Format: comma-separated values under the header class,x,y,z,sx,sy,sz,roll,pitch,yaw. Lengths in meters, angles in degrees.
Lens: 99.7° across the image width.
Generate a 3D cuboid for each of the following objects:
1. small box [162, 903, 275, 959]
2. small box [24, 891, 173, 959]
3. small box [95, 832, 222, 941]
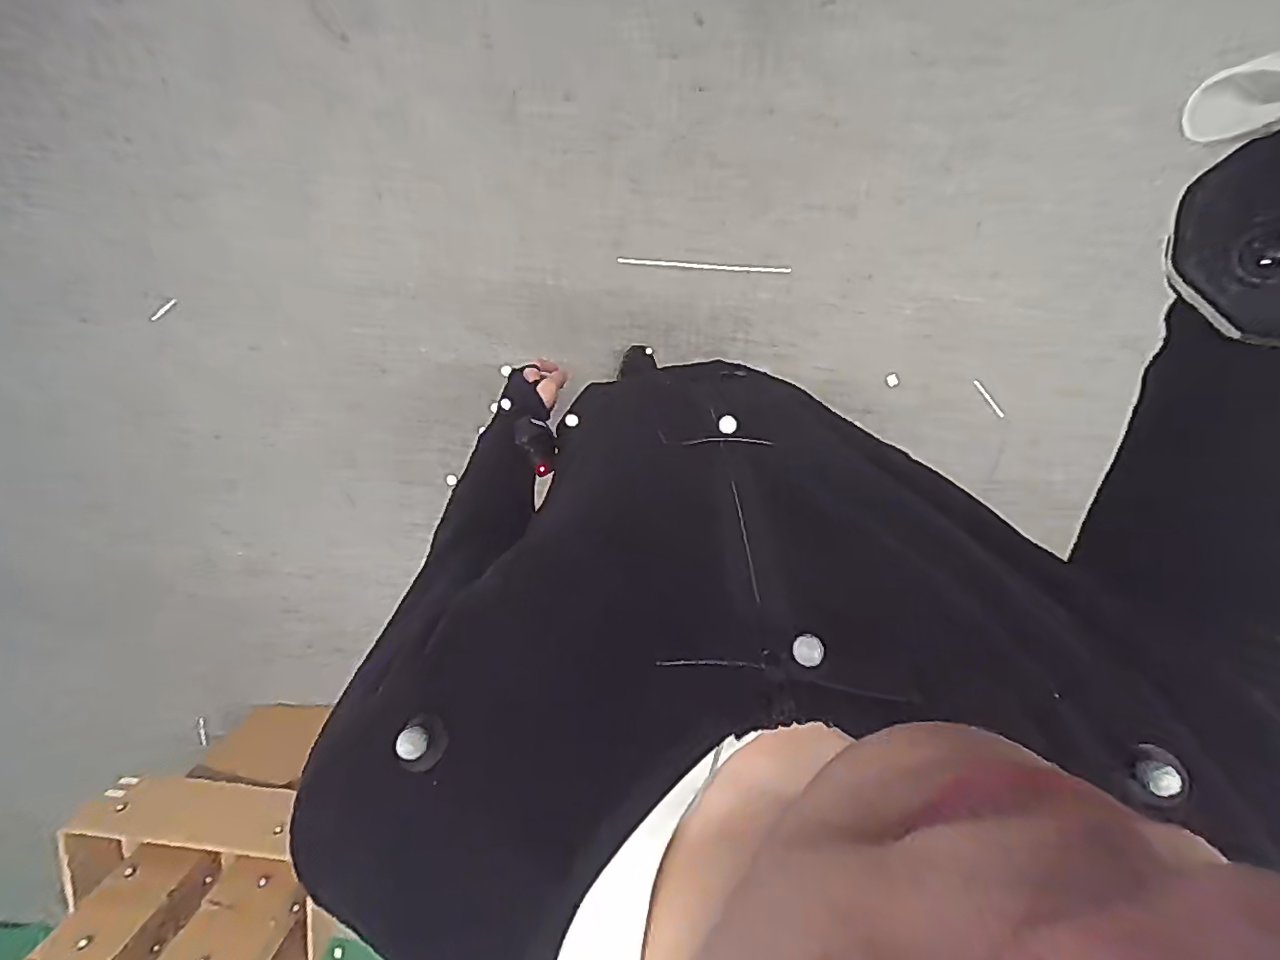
class,x,y,z,sx,sy,sz,roll,pitch,yaw
small box,-0.985,1.126,1.243,0.179,0.176,0.168,17,102,-2
small box,-1.230,1.086,1.240,0.179,0.176,0.168,5,102,-3
small box,-1.234,1.049,1.397,0.179,0.176,0.168,6,104,-2
